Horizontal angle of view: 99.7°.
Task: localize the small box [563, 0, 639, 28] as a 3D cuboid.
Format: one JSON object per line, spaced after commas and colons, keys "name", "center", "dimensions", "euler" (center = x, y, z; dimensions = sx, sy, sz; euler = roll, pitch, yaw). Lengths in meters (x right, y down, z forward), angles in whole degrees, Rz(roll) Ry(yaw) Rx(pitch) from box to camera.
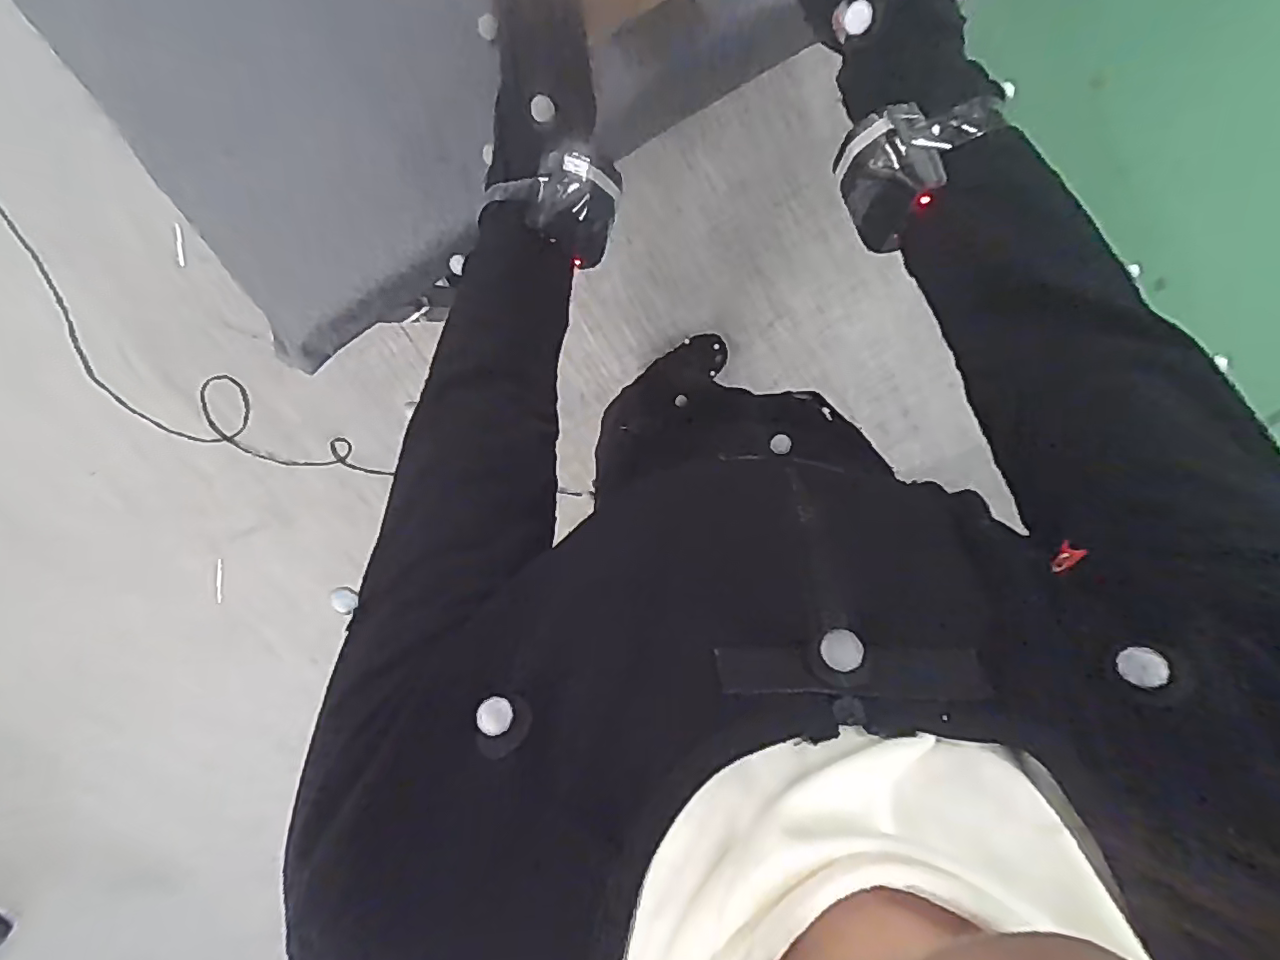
{"name": "small box", "center": [-0.017, -0.481, 0.389], "dimensions": [0.179, 0.176, 0.168], "euler": [-22, 111, 13]}
